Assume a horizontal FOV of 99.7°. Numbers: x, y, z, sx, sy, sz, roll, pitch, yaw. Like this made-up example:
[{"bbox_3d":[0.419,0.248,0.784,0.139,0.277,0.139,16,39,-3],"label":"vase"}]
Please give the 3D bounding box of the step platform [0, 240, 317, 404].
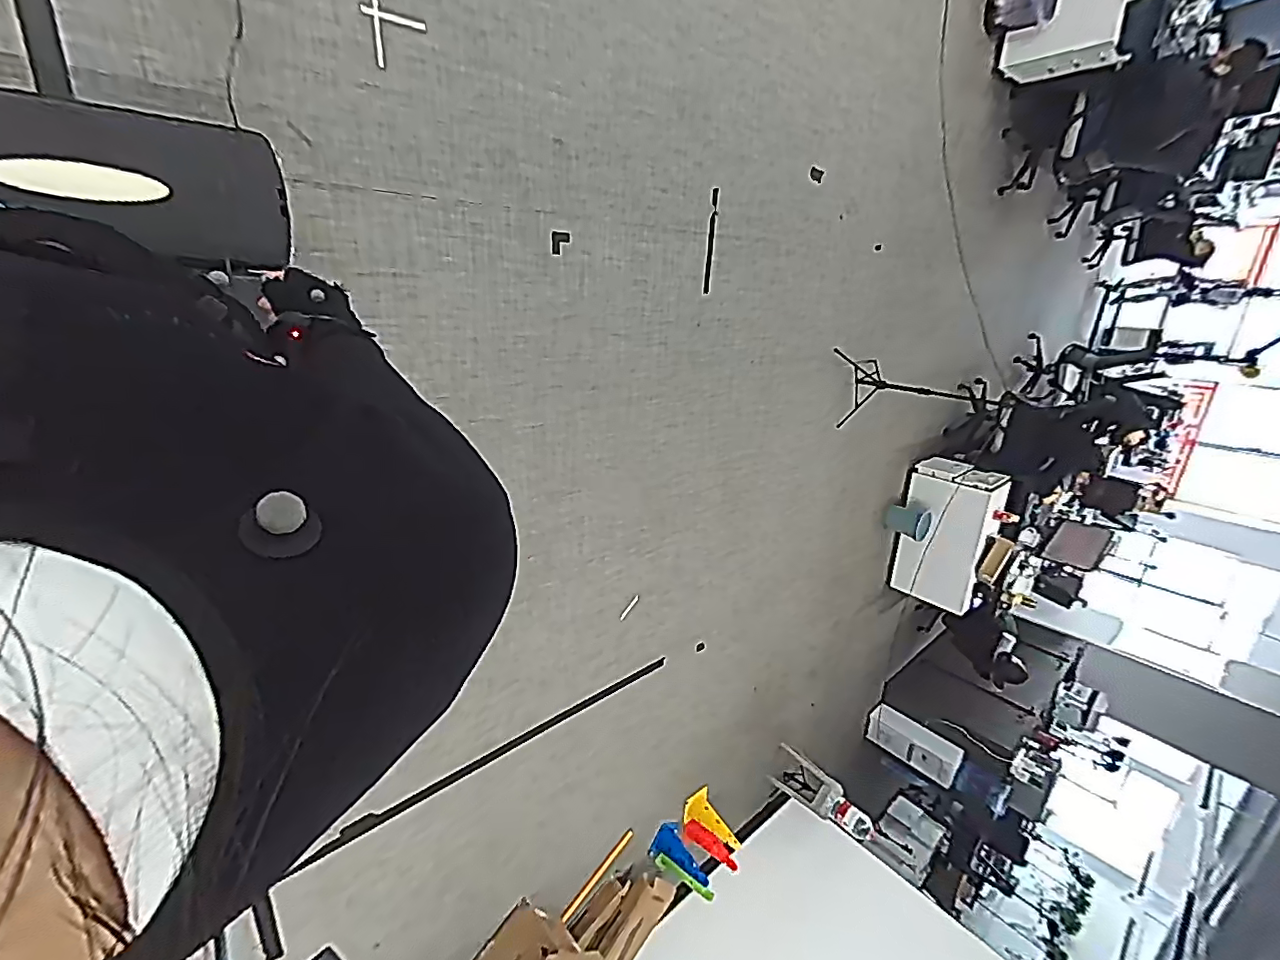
[{"bbox_3d":[-1.055,-0.324,1.100,0.684,0.204,0.286,-15,115,-38],"label":"step platform"}]
